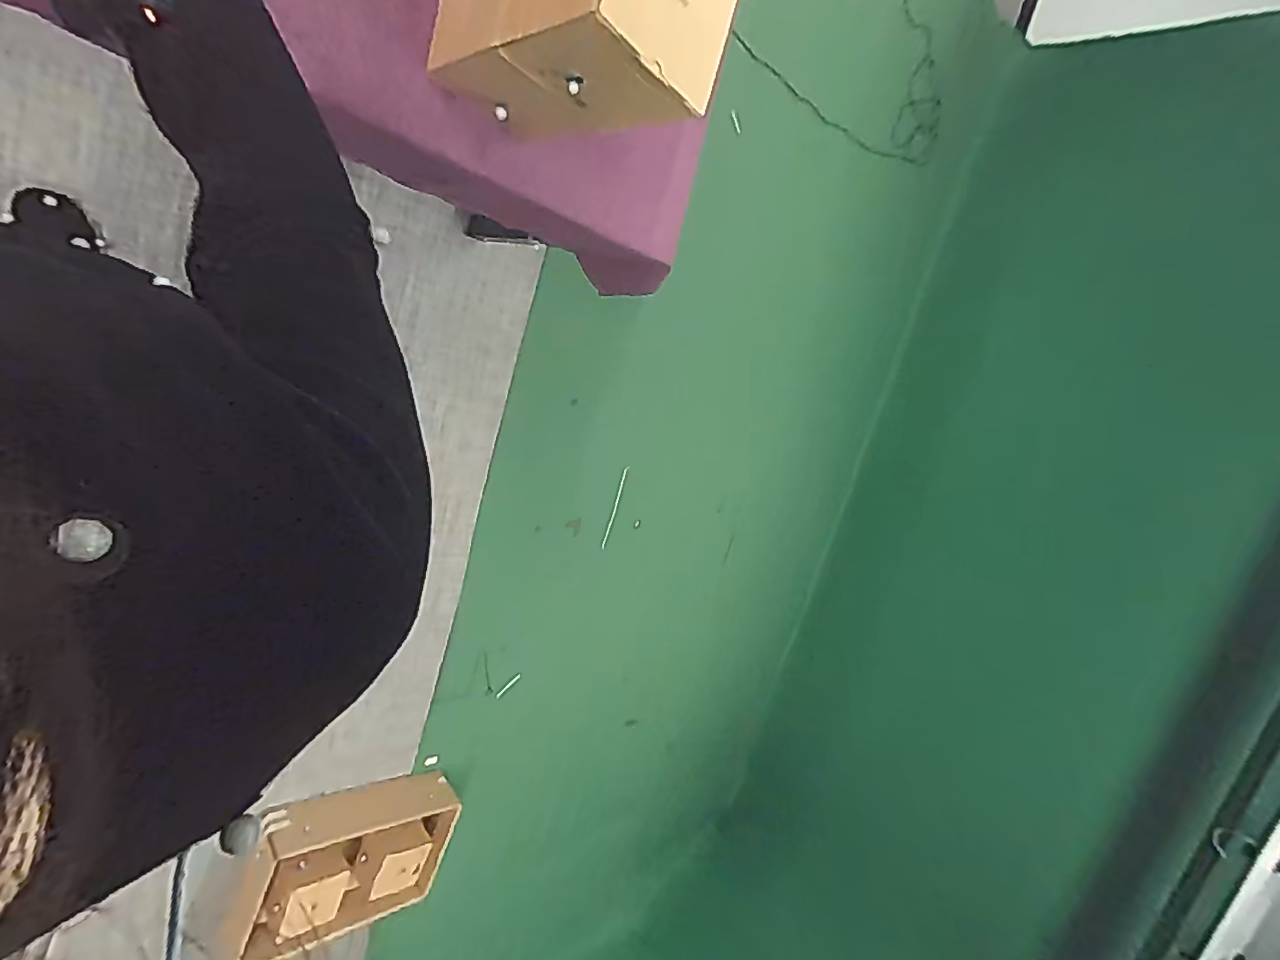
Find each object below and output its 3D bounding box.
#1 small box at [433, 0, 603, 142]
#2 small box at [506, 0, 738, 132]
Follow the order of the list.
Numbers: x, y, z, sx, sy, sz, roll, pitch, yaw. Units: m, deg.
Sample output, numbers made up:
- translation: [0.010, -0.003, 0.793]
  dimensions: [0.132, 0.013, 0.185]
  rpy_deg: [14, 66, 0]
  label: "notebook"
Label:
- translation: [-0.135, -0.556, 0.674]
  dimensions: [0.168, 0.176, 0.179]
  rpy_deg: [5, 105, -48]
  label: "small box"
- translation: [-0.019, -0.504, 0.572]
  dimensions: [0.168, 0.176, 0.179]
  rpy_deg: [5, 106, -49]
  label: "small box"
